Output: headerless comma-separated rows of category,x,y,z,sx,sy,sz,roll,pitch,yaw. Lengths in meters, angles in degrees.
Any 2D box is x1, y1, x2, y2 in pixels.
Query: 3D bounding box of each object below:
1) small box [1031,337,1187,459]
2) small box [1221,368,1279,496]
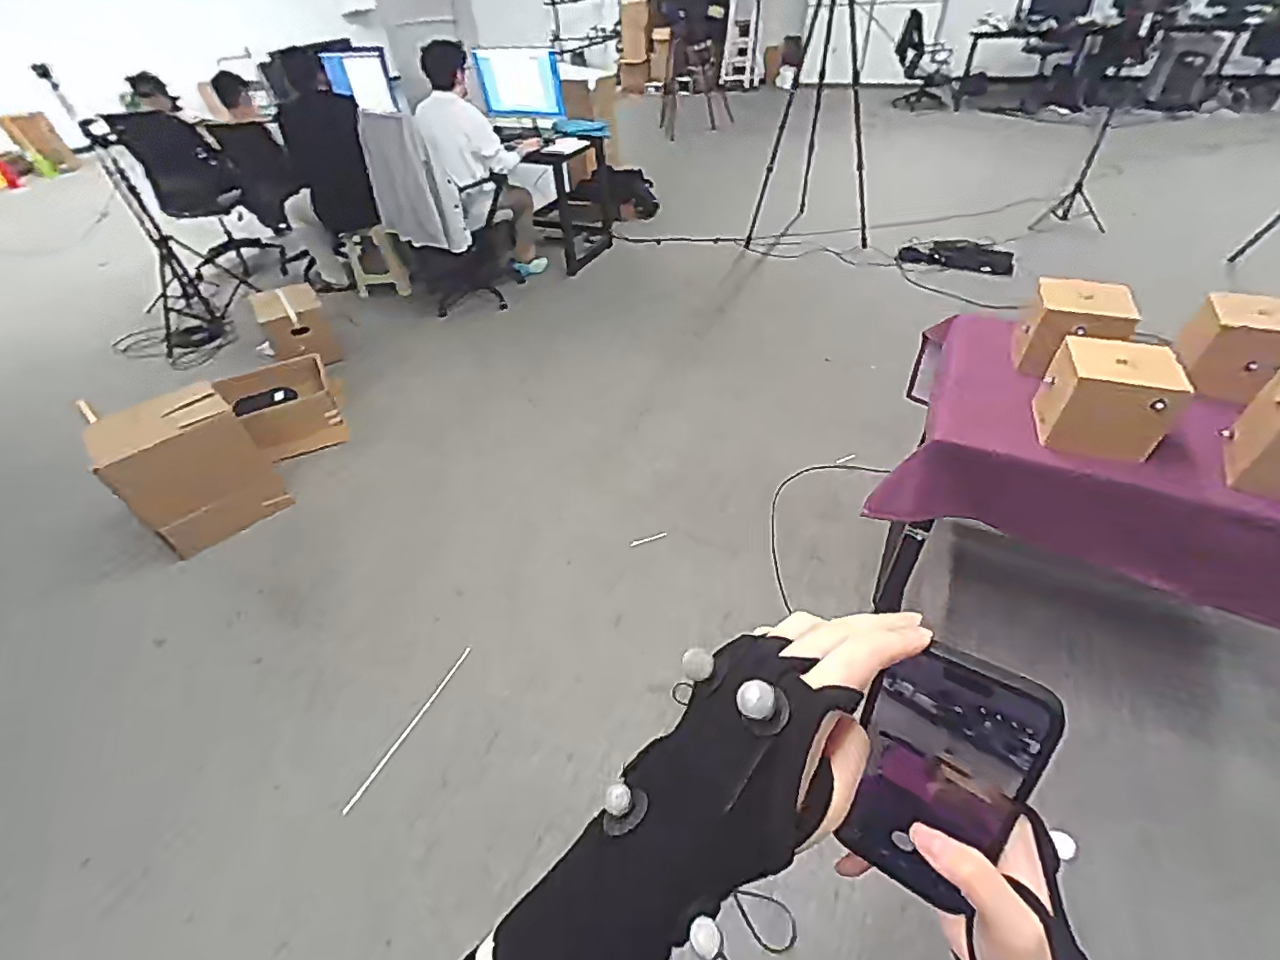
small box,0.914,-0.163,1.080,0.179,0.176,0.168,13,46,17
small box,1.186,-0.069,0.954,0.179,0.176,0.168,22,49,25
